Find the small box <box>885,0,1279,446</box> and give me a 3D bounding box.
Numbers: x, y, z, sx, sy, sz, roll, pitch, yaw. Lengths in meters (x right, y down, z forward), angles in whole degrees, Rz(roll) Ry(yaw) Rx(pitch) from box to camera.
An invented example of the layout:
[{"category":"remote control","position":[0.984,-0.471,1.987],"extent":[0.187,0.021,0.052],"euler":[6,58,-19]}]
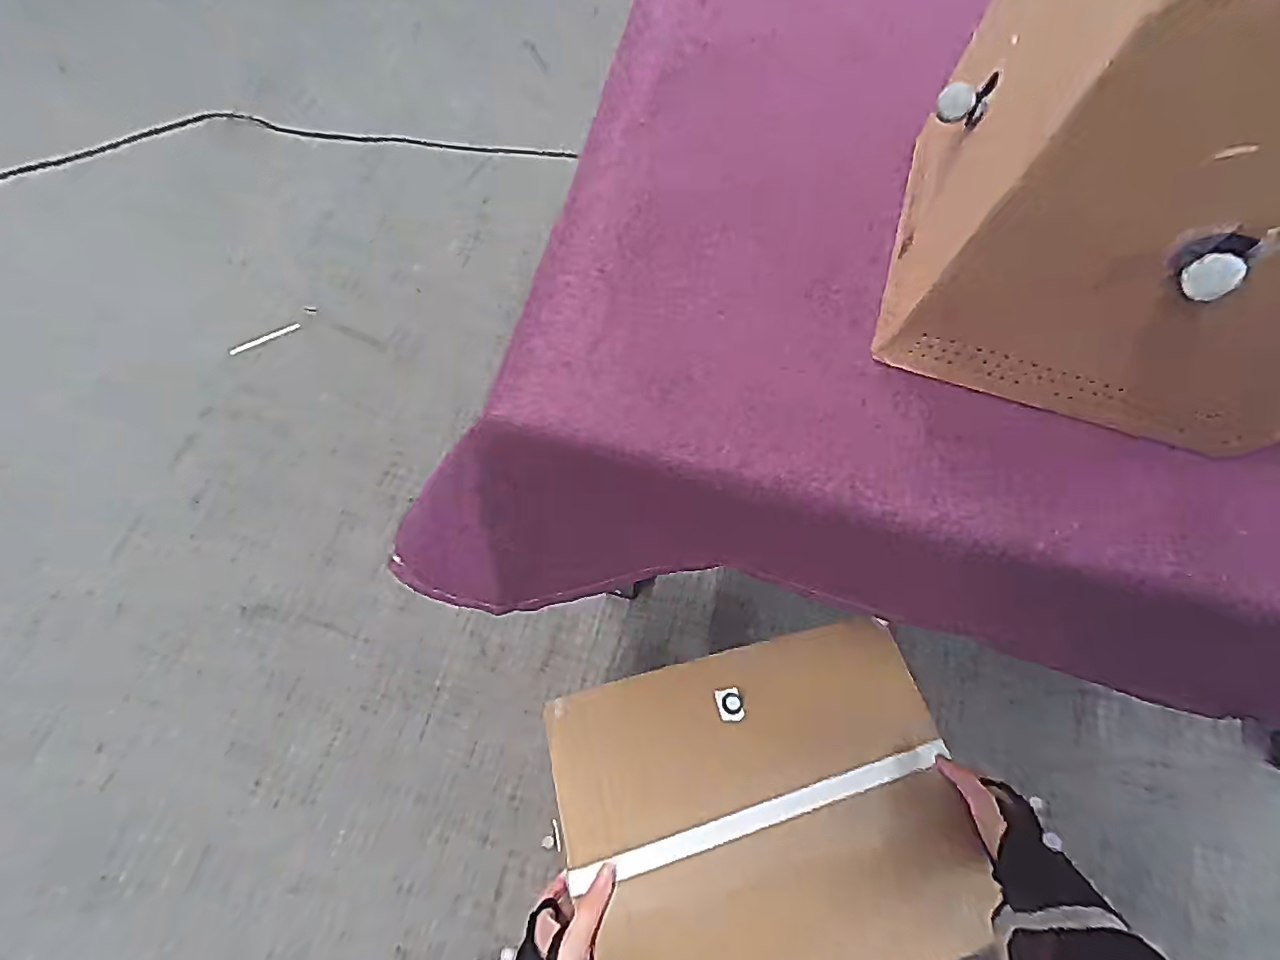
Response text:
[{"category":"small box","position":[0.224,-0.131,0.216],"extent":[0.179,0.176,0.168],"euler":[17,72,6]}]
